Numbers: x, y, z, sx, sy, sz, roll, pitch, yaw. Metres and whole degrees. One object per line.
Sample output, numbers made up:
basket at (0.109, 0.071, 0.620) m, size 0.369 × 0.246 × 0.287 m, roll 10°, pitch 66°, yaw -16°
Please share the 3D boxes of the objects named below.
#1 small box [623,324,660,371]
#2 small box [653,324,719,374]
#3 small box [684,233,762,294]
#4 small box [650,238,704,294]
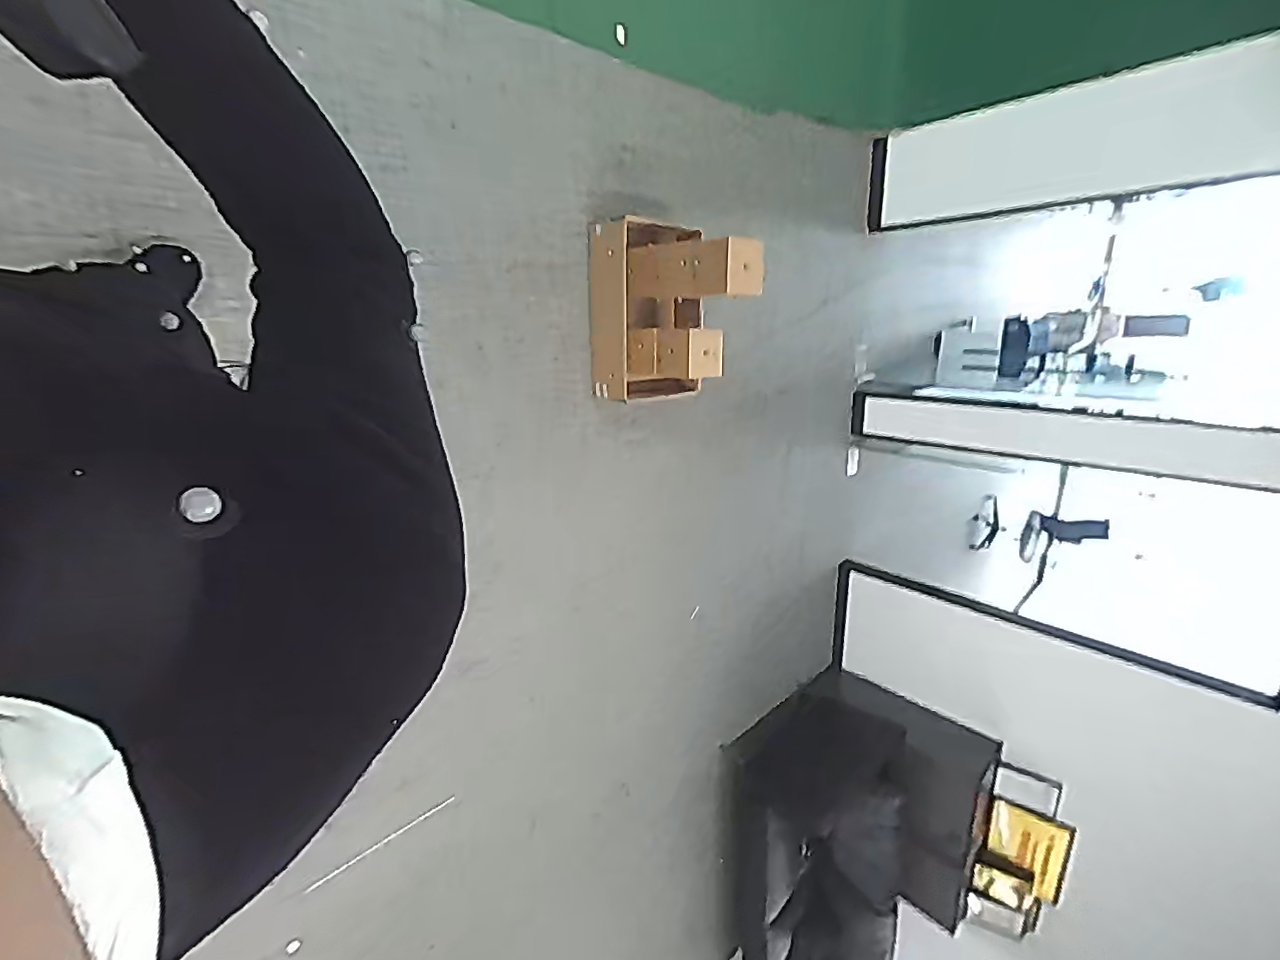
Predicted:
small box at (0.048, -0.499, 2.040) m, size 0.179 × 0.176 × 0.168 m, roll -13°, pitch 110°, yaw -41°
small box at (0.160, -0.465, 1.924) m, size 0.179 × 0.176 × 0.168 m, roll -13°, pitch 110°, yaw -41°
small box at (0.263, -0.684, 1.724) m, size 0.179 × 0.176 × 0.168 m, roll -14°, pitch 112°, yaw -39°
small box at (0.155, -0.723, 1.840) m, size 0.179 × 0.176 × 0.168 m, roll -15°, pitch 113°, yaw -40°
